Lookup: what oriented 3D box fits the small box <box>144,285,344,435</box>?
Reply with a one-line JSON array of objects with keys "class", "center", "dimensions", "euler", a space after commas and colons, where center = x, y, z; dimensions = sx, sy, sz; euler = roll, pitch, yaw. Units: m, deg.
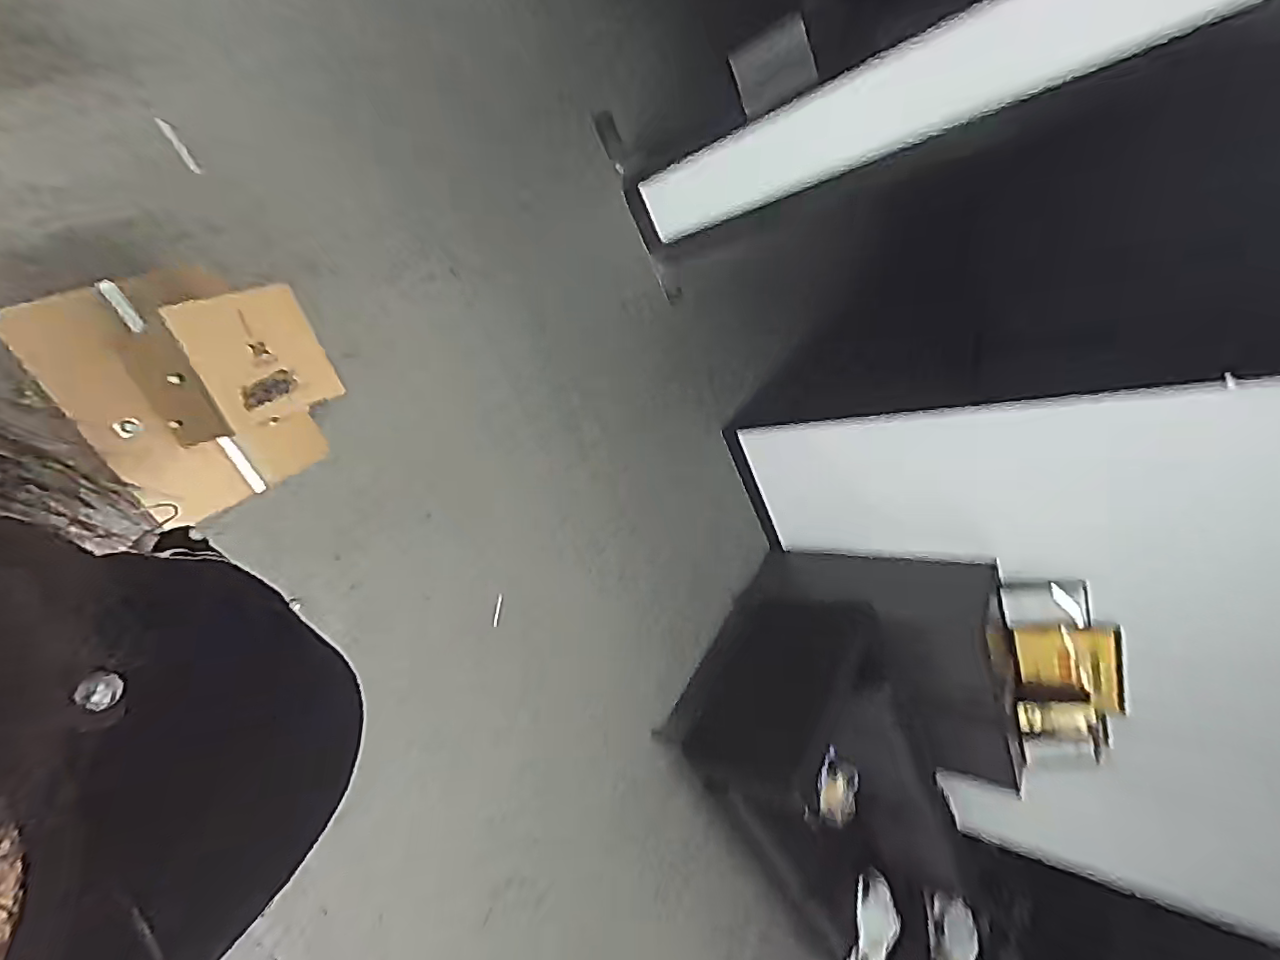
[{"class": "small box", "center": [-0.597, -0.175, 0.820], "dimensions": [0.168, 0.176, 0.179], "euler": [-39, 117, -44]}]

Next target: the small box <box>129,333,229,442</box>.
[{"class": "small box", "center": [-0.721, -0.173, 0.928], "dimensions": [0.168, 0.176, 0.179], "euler": [-40, 118, -44]}]
